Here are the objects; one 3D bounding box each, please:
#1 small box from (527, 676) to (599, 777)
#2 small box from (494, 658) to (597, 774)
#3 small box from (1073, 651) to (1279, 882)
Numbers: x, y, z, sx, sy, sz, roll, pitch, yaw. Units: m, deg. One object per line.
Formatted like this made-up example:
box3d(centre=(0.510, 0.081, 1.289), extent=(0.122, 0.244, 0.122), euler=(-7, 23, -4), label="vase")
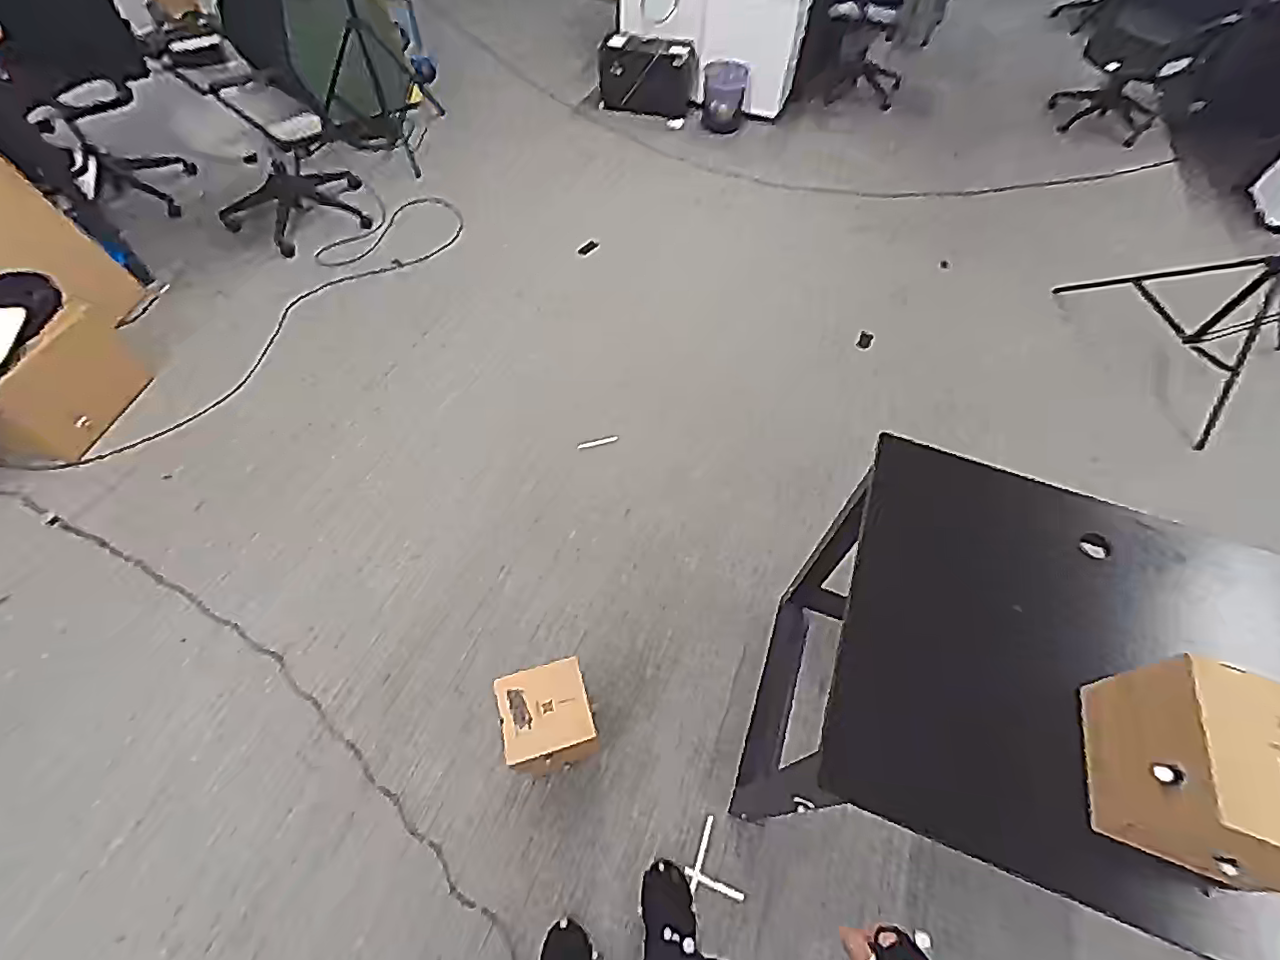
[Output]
box3d(centre=(-0.203, 0.584, 1.285), extent=(0.179, 0.176, 0.168), euler=(-15, 57, -13), label="small box")
box3d(centre=(-0.196, 0.501, 1.141), extent=(0.179, 0.176, 0.168), euler=(-14, 57, -12), label="small box")
box3d(centre=(0.638, 0.329, 0.615), extent=(0.168, 0.176, 0.179), euler=(19, 56, 10), label="small box")
